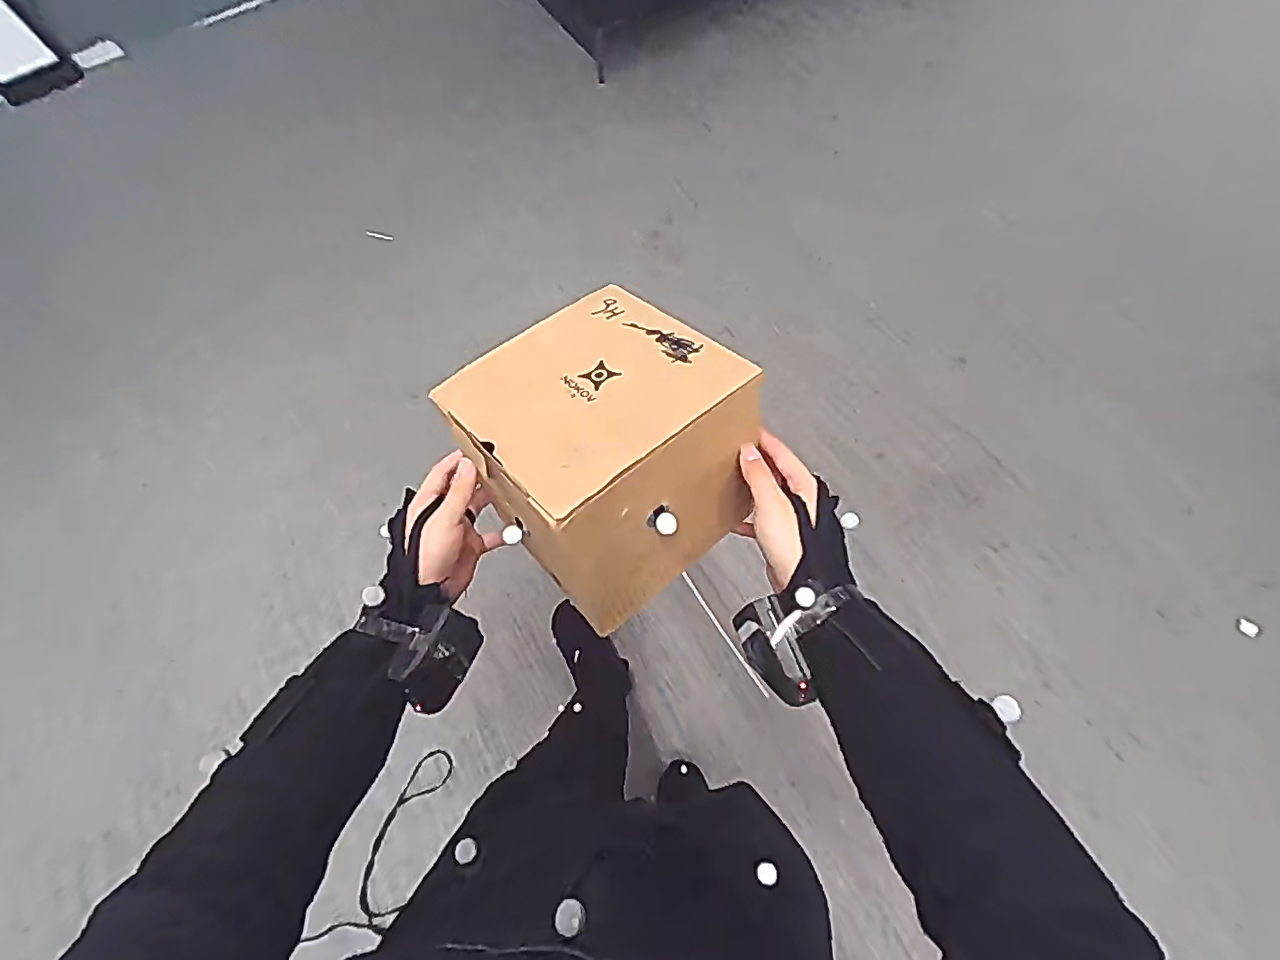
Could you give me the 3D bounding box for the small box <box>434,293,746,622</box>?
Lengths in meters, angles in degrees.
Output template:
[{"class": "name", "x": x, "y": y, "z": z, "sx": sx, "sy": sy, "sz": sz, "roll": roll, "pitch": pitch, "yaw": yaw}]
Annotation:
[{"class": "small box", "x": -0.028, "y": -0.016, "z": 0.448, "sx": 0.179, "sy": 0.176, "sz": 0.168, "roll": -38, "pitch": 56, "yaw": -19}]
